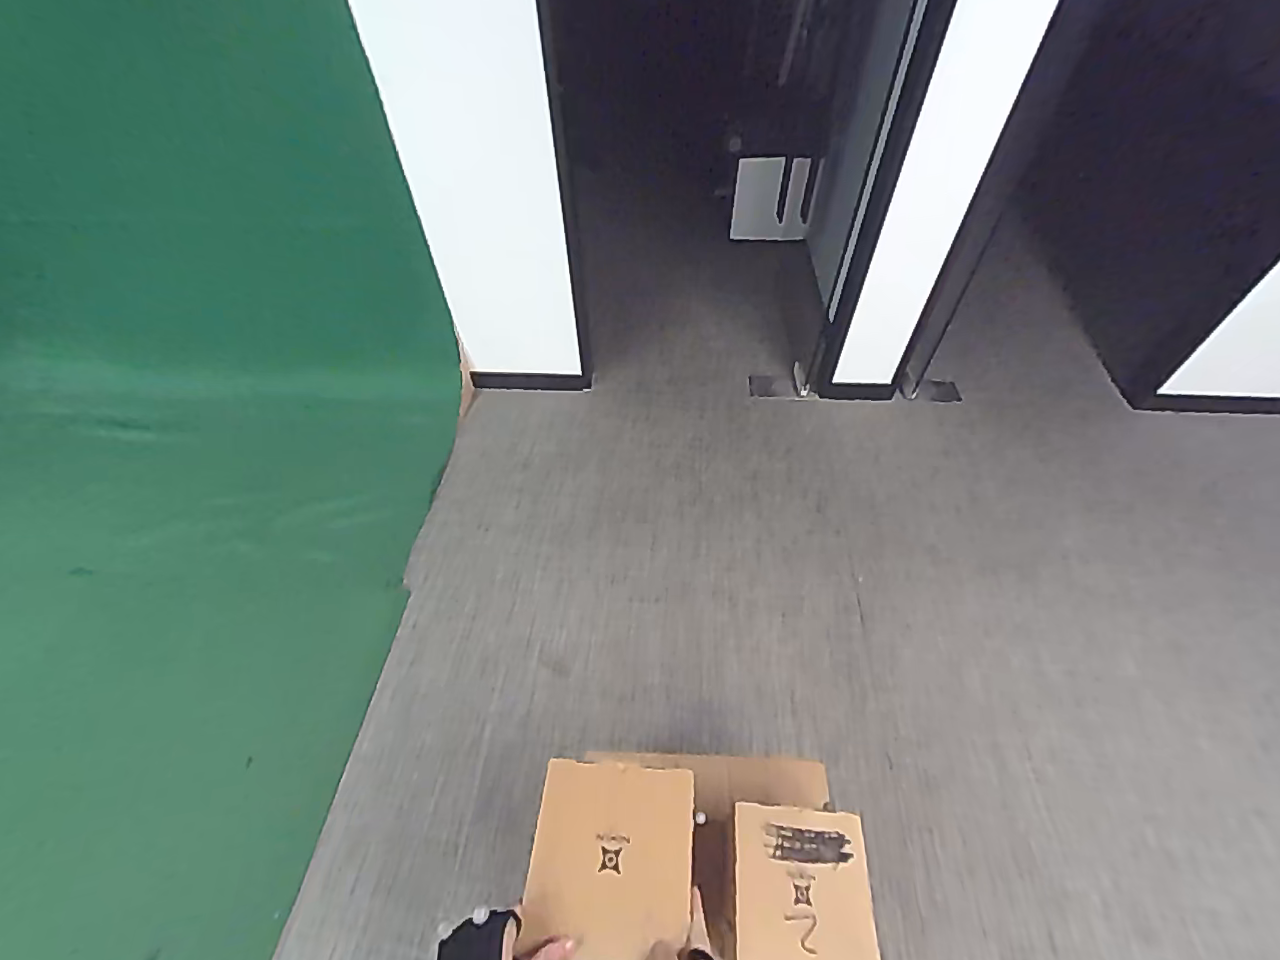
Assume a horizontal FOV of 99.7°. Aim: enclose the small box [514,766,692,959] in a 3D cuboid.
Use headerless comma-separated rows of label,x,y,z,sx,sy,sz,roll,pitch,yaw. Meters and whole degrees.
small box,-0.027,0.453,0.613,0.168,0.176,0.179,2,44,5
